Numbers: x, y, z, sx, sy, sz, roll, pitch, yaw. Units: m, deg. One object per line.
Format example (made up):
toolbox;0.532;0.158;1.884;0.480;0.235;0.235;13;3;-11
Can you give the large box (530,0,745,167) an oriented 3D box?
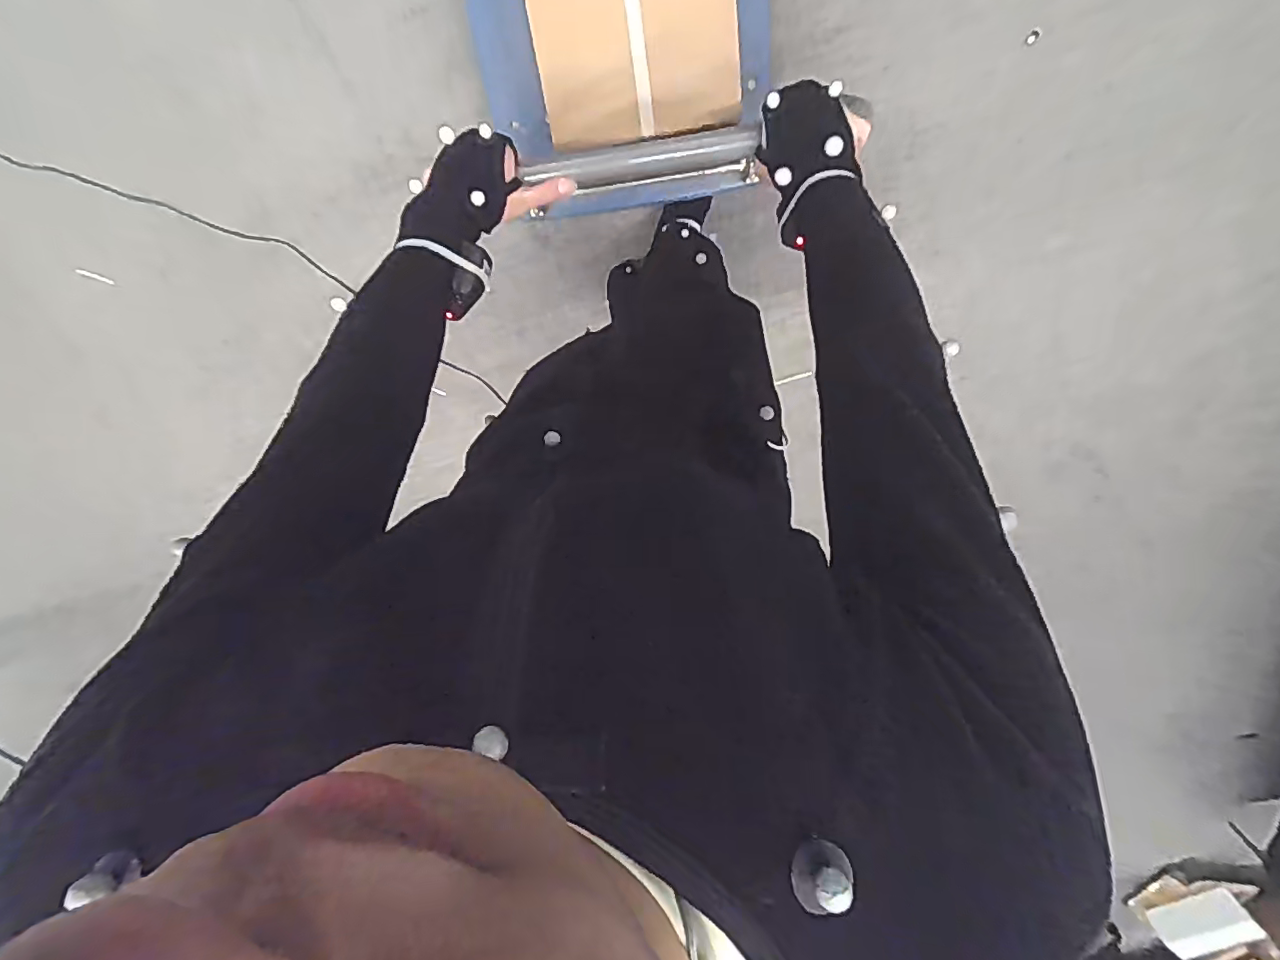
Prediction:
large box;-0.009;-0.799;0.930;0.320;0.320;0.408;-7;118;4
